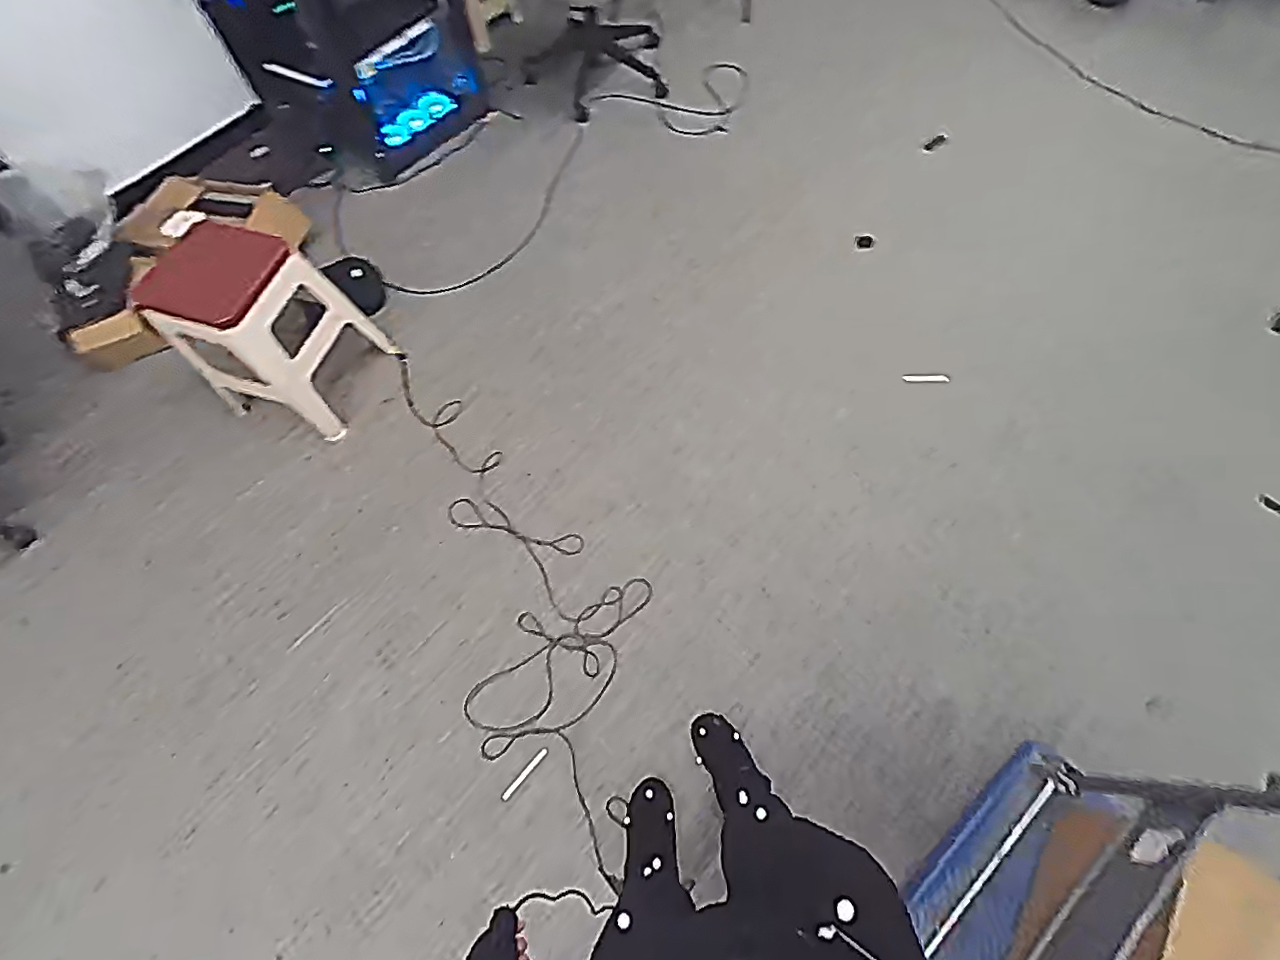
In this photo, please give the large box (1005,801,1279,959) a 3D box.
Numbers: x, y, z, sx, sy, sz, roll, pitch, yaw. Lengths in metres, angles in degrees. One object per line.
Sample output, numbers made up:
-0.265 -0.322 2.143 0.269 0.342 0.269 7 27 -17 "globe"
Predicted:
0.847 0.809 0.853 0.320 0.320 0.408 31 71 15 "large box"
